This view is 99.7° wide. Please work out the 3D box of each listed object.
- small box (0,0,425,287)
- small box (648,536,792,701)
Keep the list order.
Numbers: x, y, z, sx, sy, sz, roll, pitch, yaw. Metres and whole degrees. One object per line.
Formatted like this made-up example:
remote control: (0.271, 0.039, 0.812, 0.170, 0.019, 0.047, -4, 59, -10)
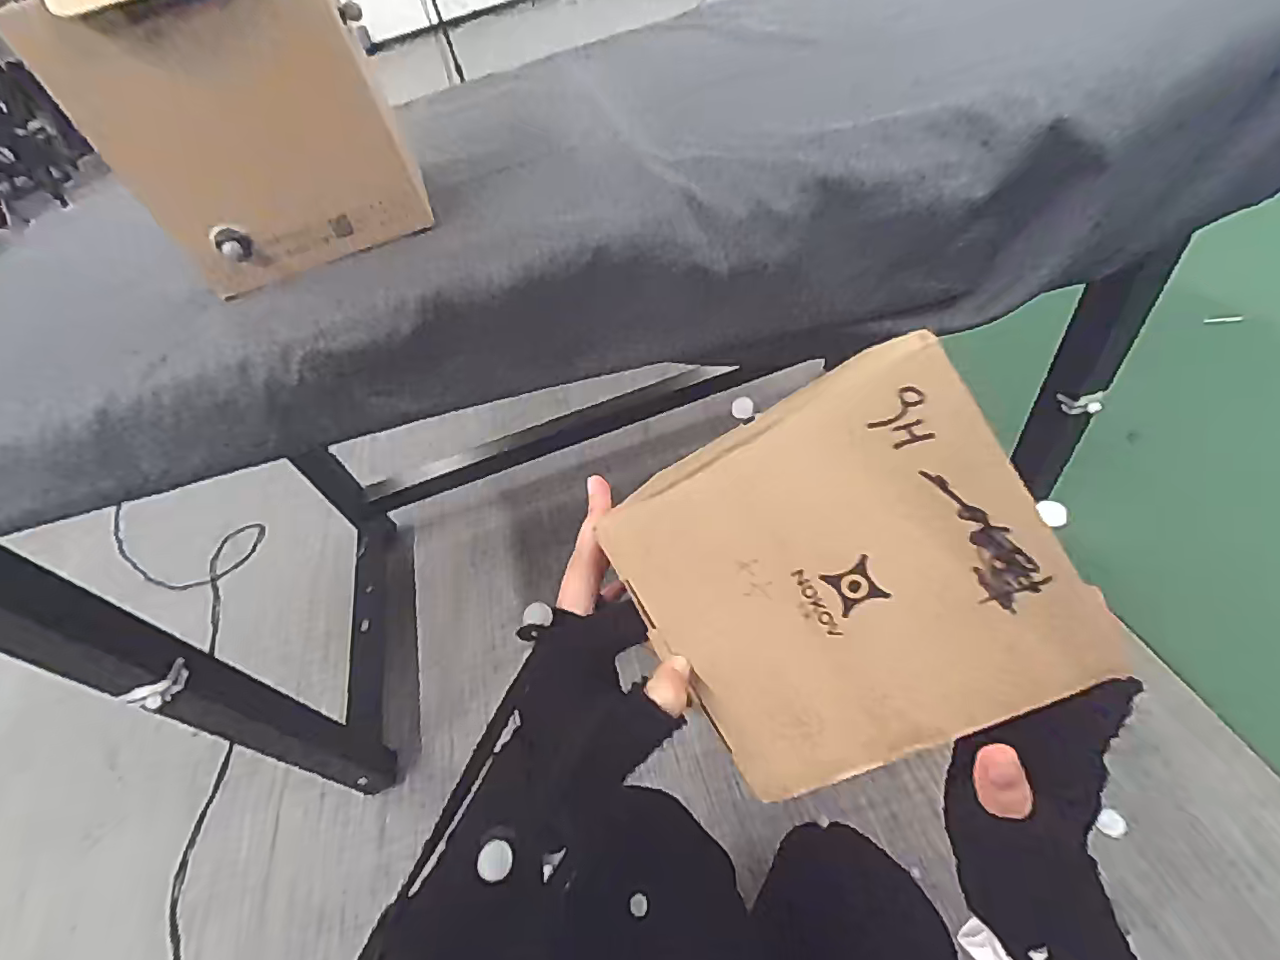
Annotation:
small box: (-0.279, -0.268, 0.407, 0.168, 0.176, 0.179, -23, 45, -6)
small box: (0.128, 0.225, 0.855, 0.168, 0.176, 0.179, -20, 46, -4)
